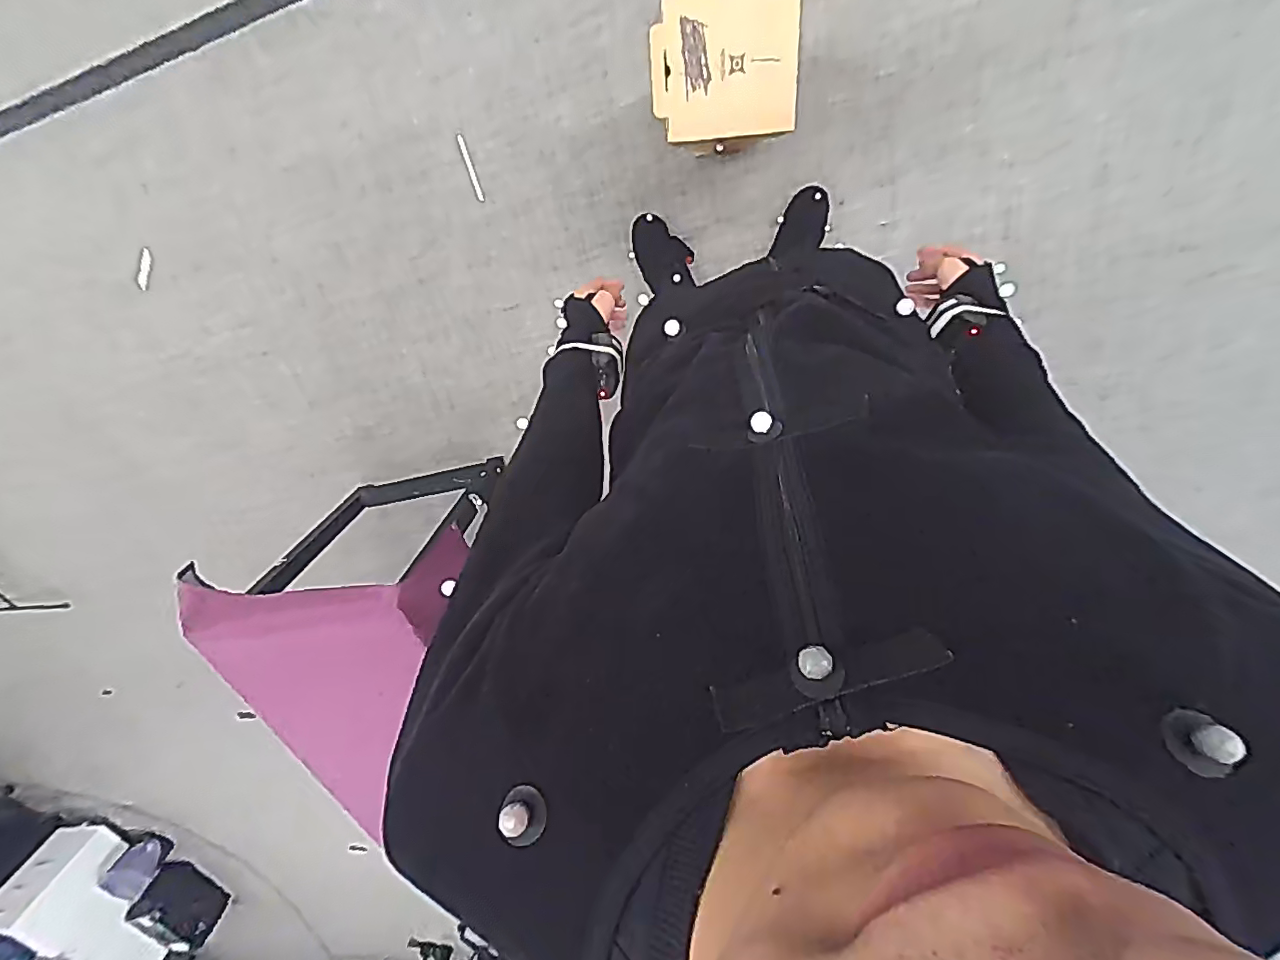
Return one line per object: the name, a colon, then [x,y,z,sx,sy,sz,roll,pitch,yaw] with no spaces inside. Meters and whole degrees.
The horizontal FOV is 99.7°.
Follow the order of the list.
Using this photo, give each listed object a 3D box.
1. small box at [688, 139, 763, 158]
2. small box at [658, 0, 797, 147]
small box: [0.181,-0.833,1.202,0.168,0.176,0.179,-7,119,10]
small box: [0.122,-0.585,0.778,0.179,0.176,0.168,-2,120,6]
